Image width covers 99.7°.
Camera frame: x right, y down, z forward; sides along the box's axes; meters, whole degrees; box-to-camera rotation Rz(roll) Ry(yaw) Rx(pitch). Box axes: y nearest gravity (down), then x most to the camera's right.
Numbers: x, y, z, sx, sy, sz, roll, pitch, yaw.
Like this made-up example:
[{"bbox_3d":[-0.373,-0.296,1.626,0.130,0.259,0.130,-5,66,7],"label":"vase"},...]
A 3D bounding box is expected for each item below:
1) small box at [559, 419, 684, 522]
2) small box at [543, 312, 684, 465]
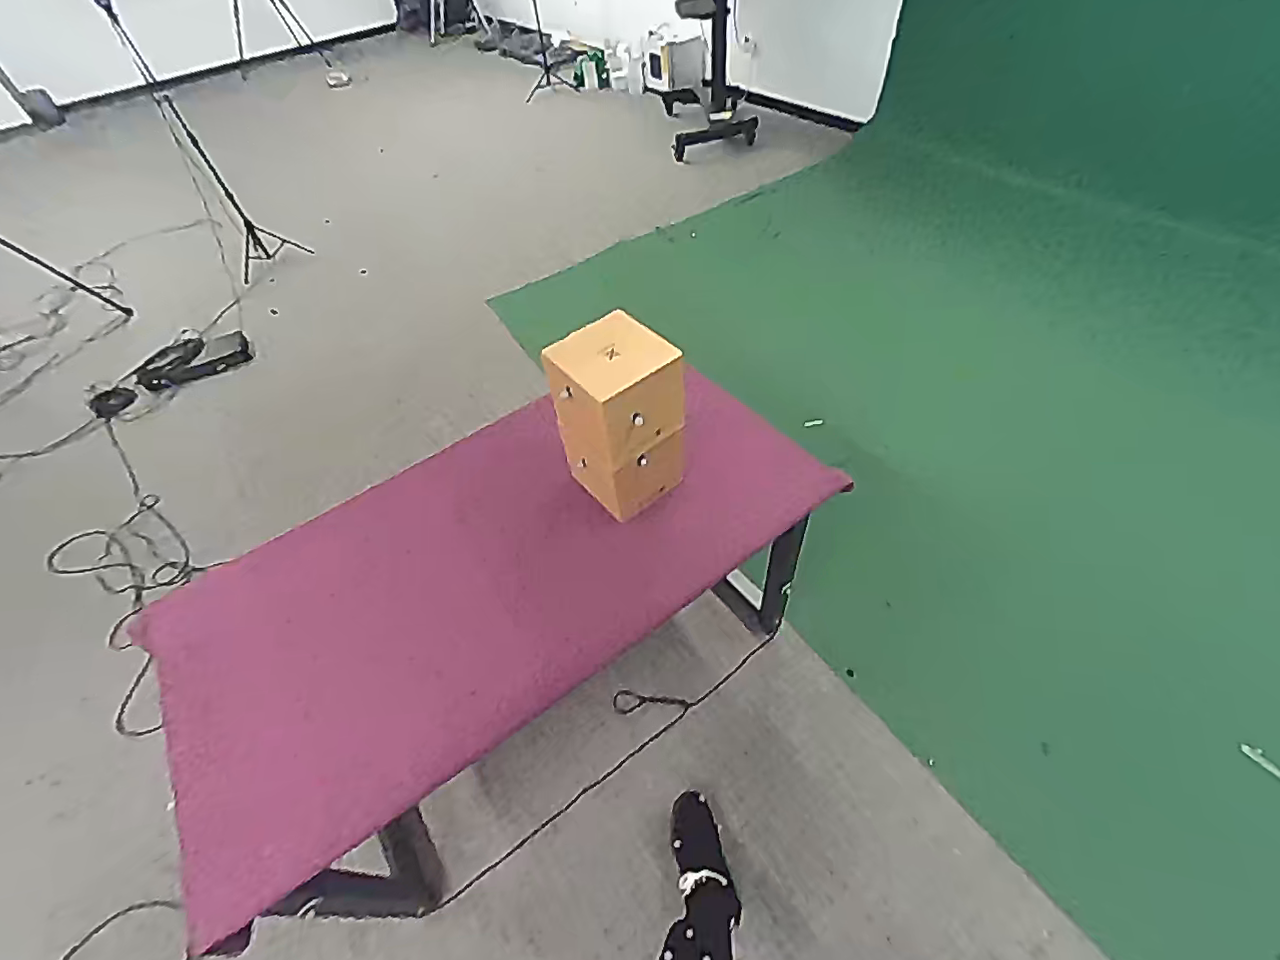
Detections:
[{"bbox_3d":[-0.031,-0.050,1.054,0.168,0.176,0.179,-35,55,-20],"label":"small box"},{"bbox_3d":[-0.037,-0.148,0.924,0.168,0.176,0.179,-34,55,-20],"label":"small box"}]
